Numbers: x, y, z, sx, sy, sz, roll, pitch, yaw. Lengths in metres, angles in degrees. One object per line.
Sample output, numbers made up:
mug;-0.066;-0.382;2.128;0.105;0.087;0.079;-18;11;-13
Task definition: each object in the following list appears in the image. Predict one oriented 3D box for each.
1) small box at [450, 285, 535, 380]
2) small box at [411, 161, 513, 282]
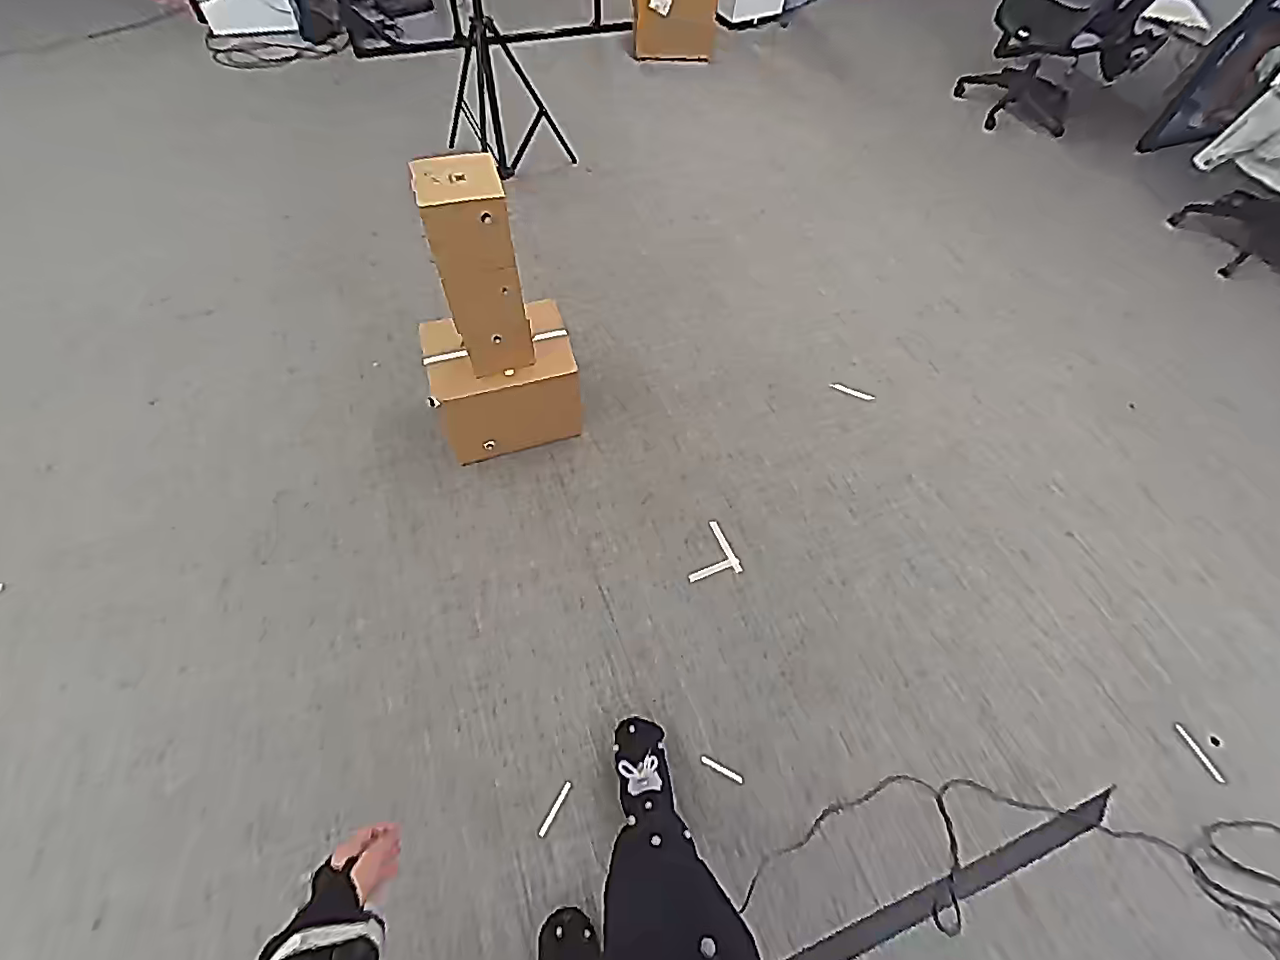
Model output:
small box;-0.396;-0.394;1.469;0.179;0.176;0.168;-17;63;-14
small box;-0.382;-0.564;1.188;0.179;0.176;0.168;-14;61;-11
